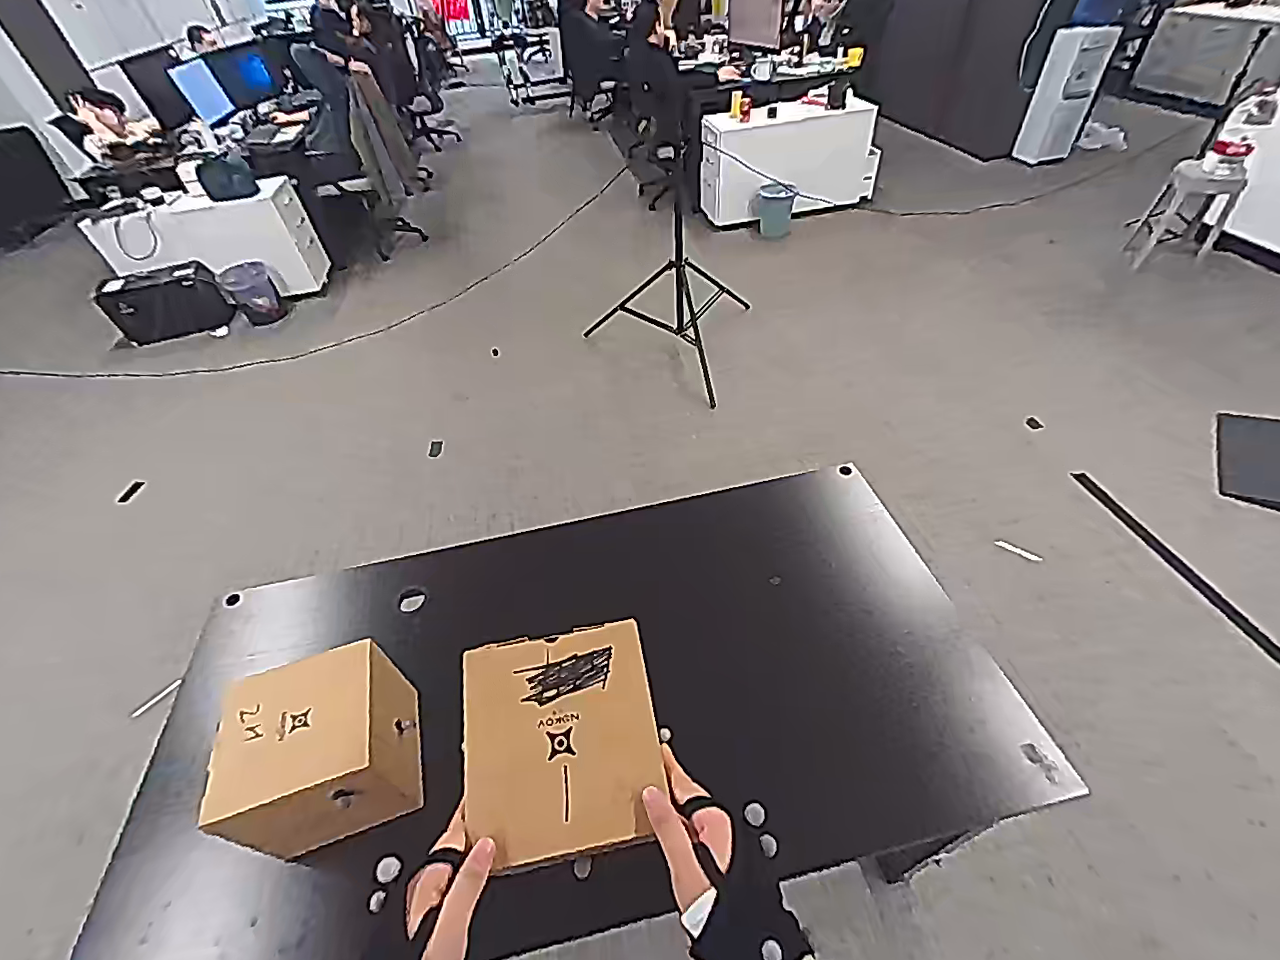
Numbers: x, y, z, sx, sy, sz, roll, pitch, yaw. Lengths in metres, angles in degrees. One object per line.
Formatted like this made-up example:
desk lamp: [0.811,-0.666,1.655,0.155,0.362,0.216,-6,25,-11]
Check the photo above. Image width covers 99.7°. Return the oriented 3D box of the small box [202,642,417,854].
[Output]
small box: [-0.397,0.342,0.690,0.179,0.176,0.168,-17,46,-10]

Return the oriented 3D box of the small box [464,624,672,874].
small box: [-0.070,0.267,0.536,0.168,0.176,0.179,-10,57,-6]
